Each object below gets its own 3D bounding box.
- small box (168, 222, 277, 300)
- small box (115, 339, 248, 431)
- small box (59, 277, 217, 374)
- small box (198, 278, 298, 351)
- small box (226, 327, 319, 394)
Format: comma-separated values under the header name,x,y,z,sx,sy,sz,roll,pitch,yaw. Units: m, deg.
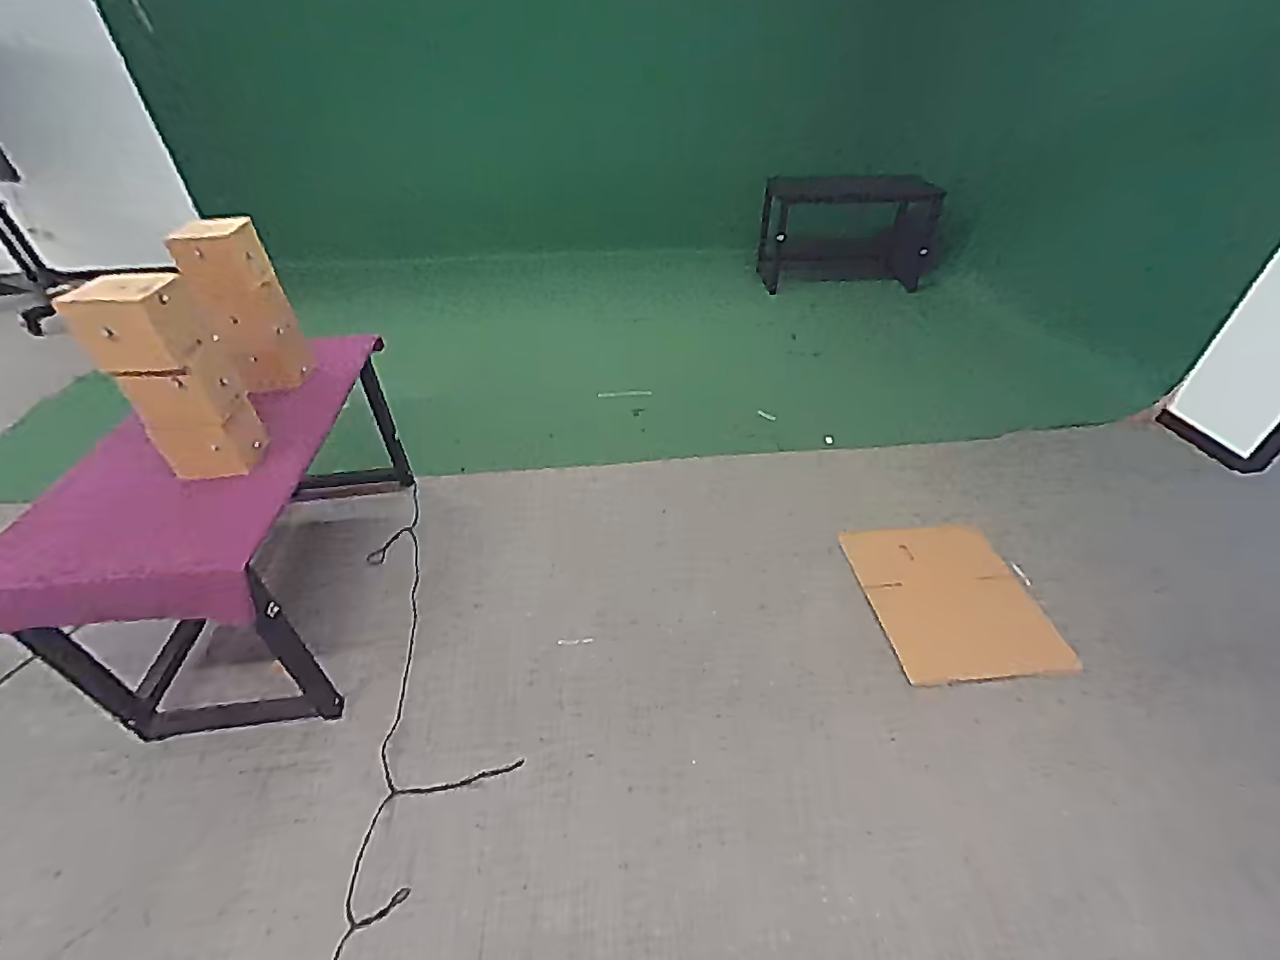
name,x,y,z,sx,sy,sz,roll,pitch,yaw
small box,-1.240,-0.657,1.625,0.179,0.176,0.168,-7,42,-4
small box,-1.148,-0.241,1.375,0.179,0.176,0.168,-6,39,-7
small box,-1.150,-0.357,1.258,0.179,0.176,0.168,-4,40,-4
small box,-1.233,-0.526,1.722,0.179,0.176,0.168,-6,41,-3
small box,-1.233,-0.402,1.828,0.179,0.176,0.168,-4,41,-3
